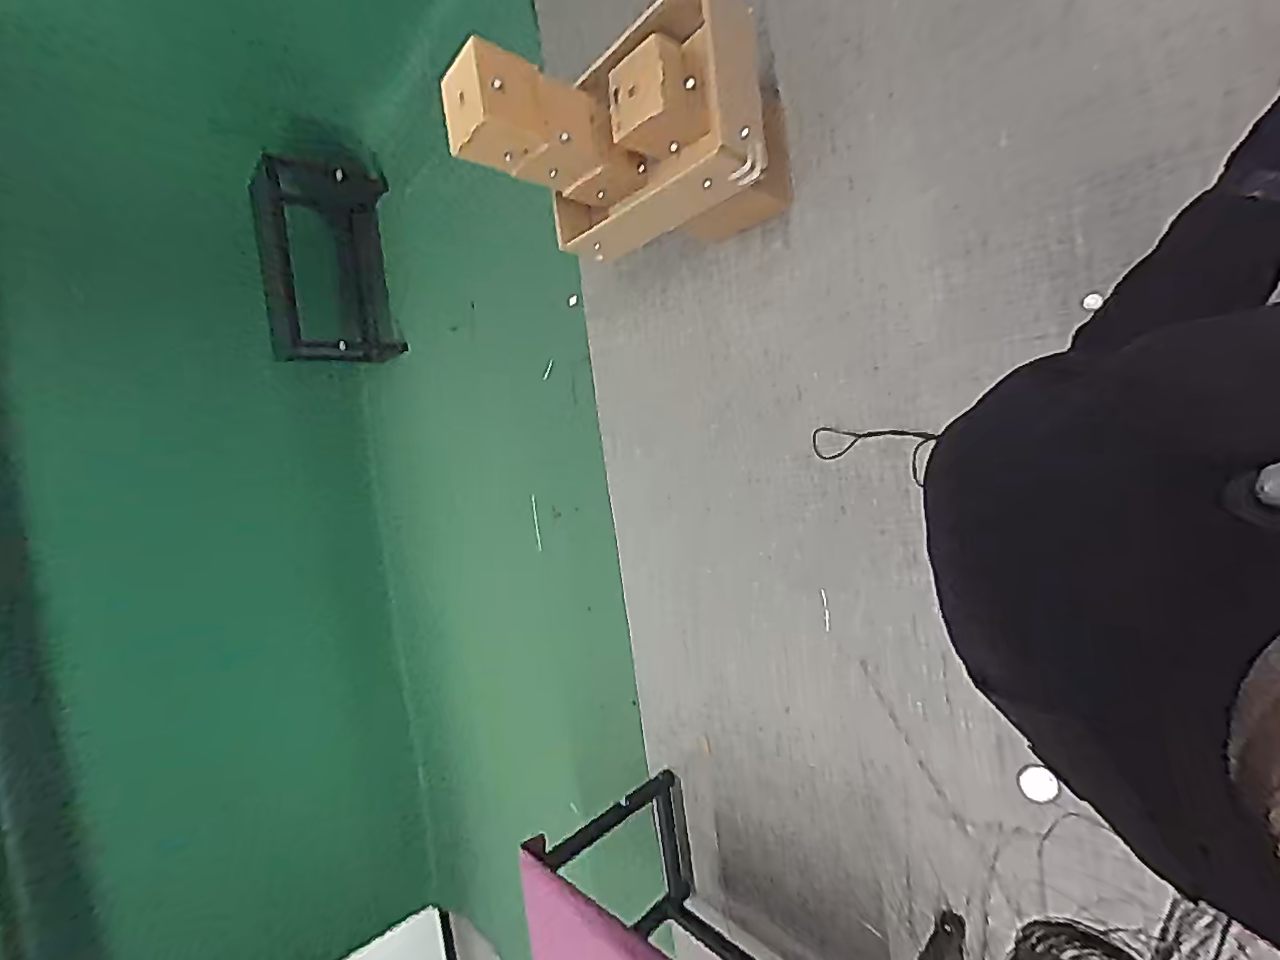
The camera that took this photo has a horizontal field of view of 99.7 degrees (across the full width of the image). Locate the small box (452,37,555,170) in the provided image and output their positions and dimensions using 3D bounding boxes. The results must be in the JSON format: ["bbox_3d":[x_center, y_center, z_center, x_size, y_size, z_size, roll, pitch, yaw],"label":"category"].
[{"bbox_3d":[-0.319,-0.872,1.273,0.168,0.176,0.179,-6,92,48],"label":"small box"}]
